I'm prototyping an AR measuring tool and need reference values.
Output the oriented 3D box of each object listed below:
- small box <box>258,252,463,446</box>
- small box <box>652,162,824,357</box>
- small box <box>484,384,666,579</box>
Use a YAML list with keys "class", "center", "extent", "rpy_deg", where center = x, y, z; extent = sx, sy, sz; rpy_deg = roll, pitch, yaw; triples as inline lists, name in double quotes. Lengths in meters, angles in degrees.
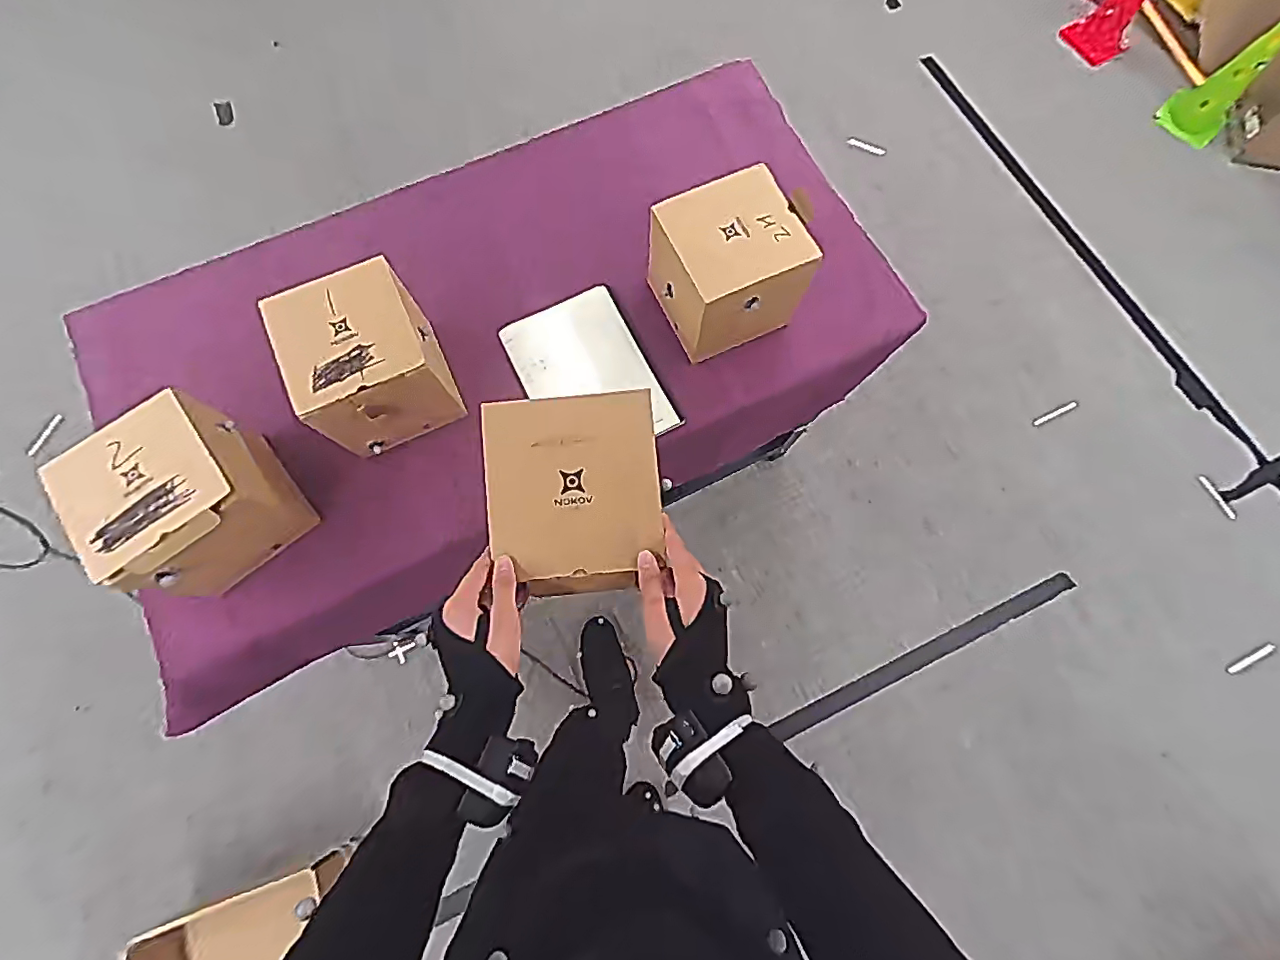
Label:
- class: "small box"
  center: [-0.364, -0.163, 0.735]
  extent: [0.168, 0.176, 0.179]
  rpy_deg: [-24, 76, -7]
- class: "small box"
  center: [0.127, -0.304, 0.778]
  extent: [0.179, 0.176, 0.168]
  rpy_deg: [-23, 77, -7]
- class: "small box"
  center: [-0.061, 0.005, 0.585]
  extent: [0.168, 0.176, 0.179]
  rpy_deg: [-5, 85, -1]
